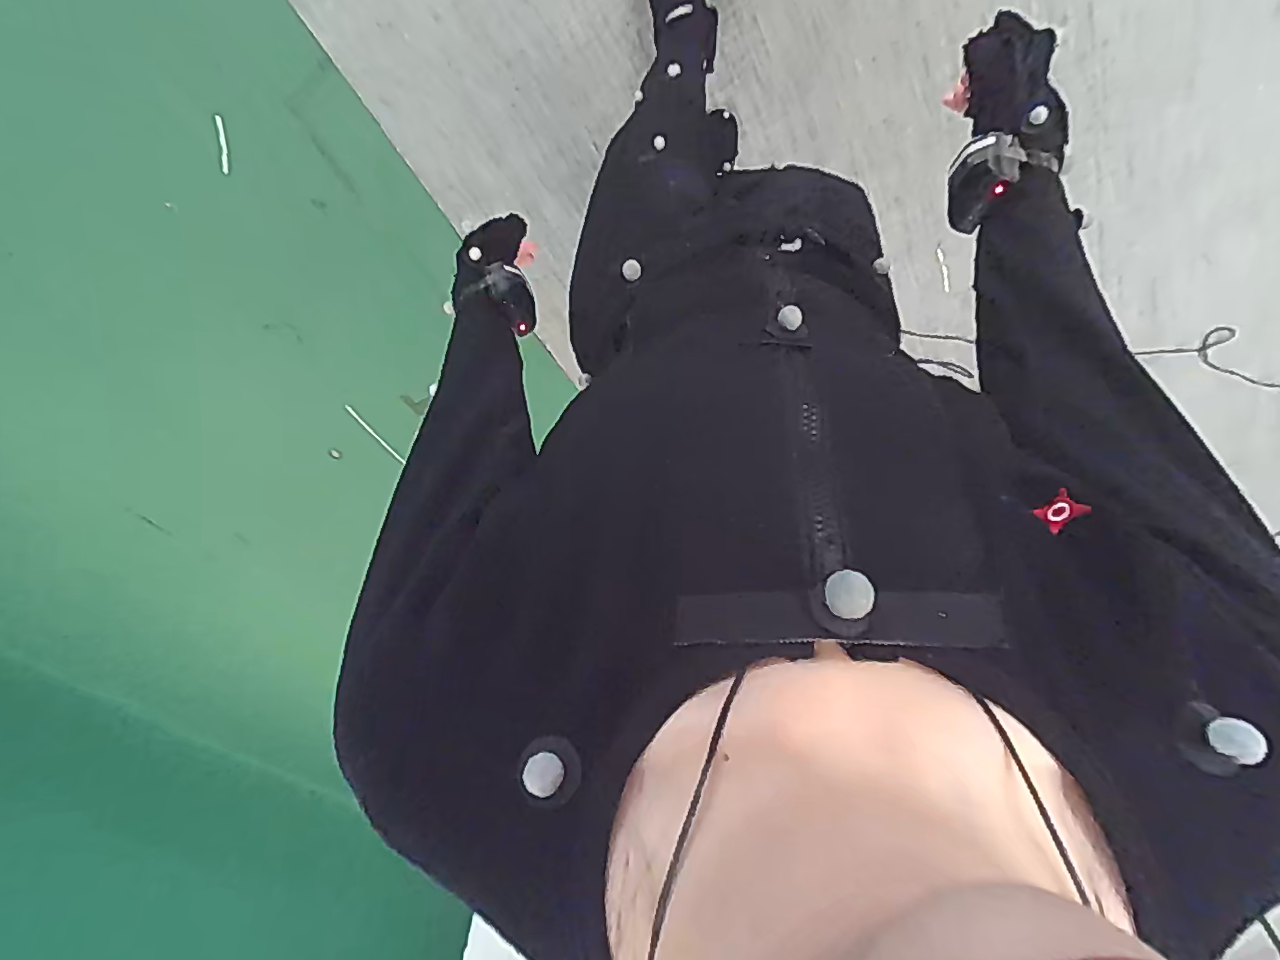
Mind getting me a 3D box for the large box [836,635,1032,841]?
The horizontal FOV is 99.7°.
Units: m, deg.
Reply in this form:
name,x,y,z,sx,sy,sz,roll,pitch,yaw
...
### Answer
name,x,y,z,sx,sy,sz,roll,pitch,yaw
large box,0.724,0.650,1.351,0.320,0.320,0.408,-19,127,18
